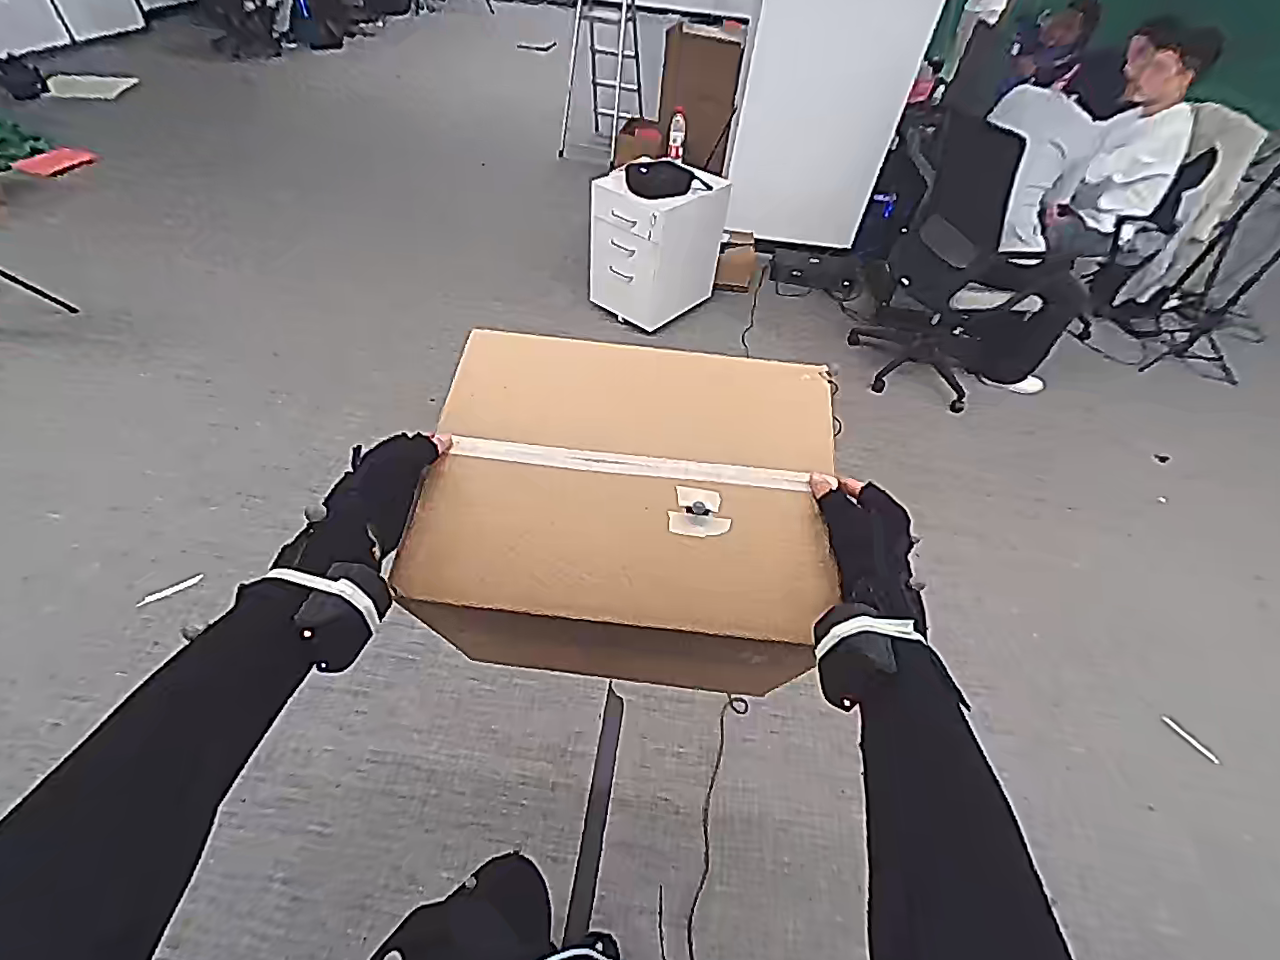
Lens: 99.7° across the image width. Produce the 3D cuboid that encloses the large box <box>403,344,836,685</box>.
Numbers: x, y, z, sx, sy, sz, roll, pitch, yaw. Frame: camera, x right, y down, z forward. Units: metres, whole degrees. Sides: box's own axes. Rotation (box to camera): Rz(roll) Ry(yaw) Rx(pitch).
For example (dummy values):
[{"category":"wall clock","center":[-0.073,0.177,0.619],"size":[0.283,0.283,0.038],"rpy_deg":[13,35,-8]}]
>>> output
[{"category":"large box","center":[-0.015,0.062,0.688],"size":[0.408,0.320,0.320],"rpy_deg":[6,62,0]}]
